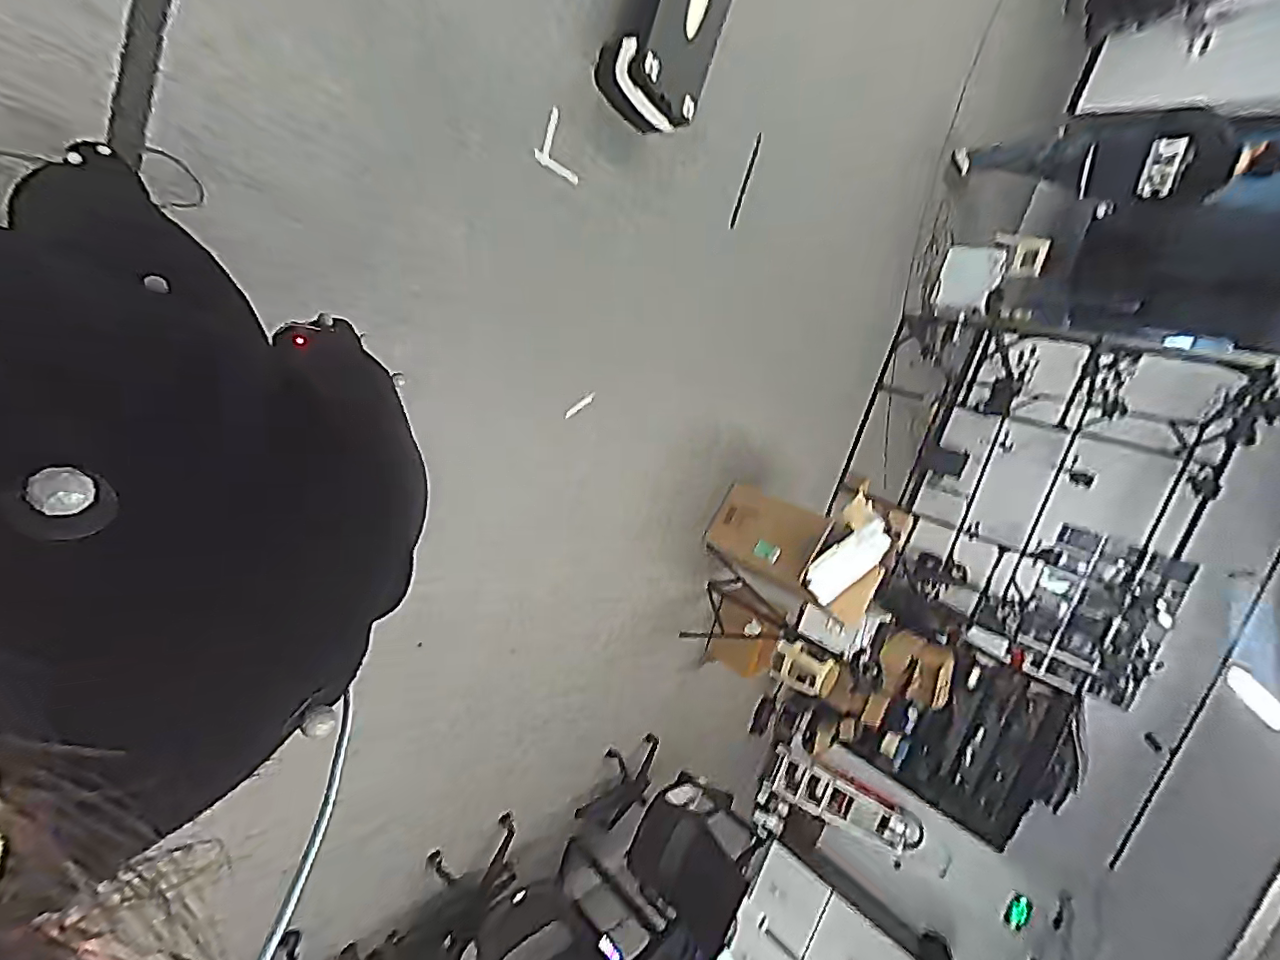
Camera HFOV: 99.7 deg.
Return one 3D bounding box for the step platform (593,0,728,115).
[{"bbox_3d":[0.120,-1.513,1.643,0.286,0.204,0.684,17,95,-52],"label":"step platform"}]
